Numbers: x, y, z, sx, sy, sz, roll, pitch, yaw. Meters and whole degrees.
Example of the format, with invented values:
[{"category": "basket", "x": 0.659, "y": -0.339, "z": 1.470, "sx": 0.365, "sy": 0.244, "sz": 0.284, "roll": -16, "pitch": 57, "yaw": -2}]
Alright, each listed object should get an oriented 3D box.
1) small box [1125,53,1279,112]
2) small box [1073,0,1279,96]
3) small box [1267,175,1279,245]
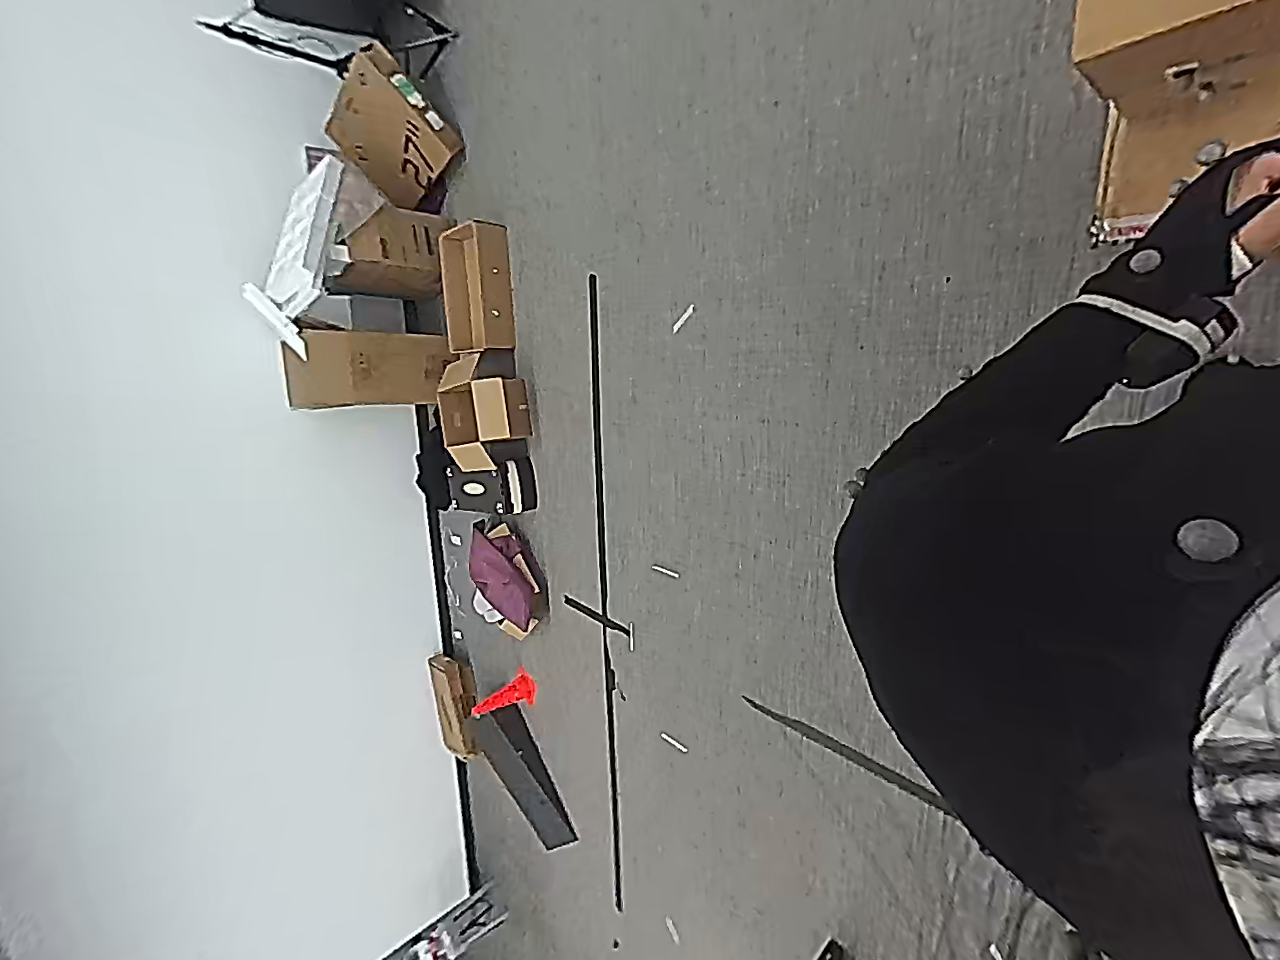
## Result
[{"category": "small box", "x": 0.639, "y": -0.542, "z": 0.589, "sx": 0.168, "sy": 0.176, "sz": 0.179, "roll": 12, "pitch": 111, "yaw": 48}, {"category": "small box", "x": 0.522, "y": -0.489, "z": 0.487, "sx": 0.168, "sy": 0.176, "sz": 0.179, "roll": 12, "pitch": 111, "yaw": 48}, {"category": "small box", "x": 0.543, "y": -0.261, "z": 0.327, "sx": 0.168, "sy": 0.176, "sz": 0.179, "roll": 14, "pitch": 91, "yaw": 35}]
